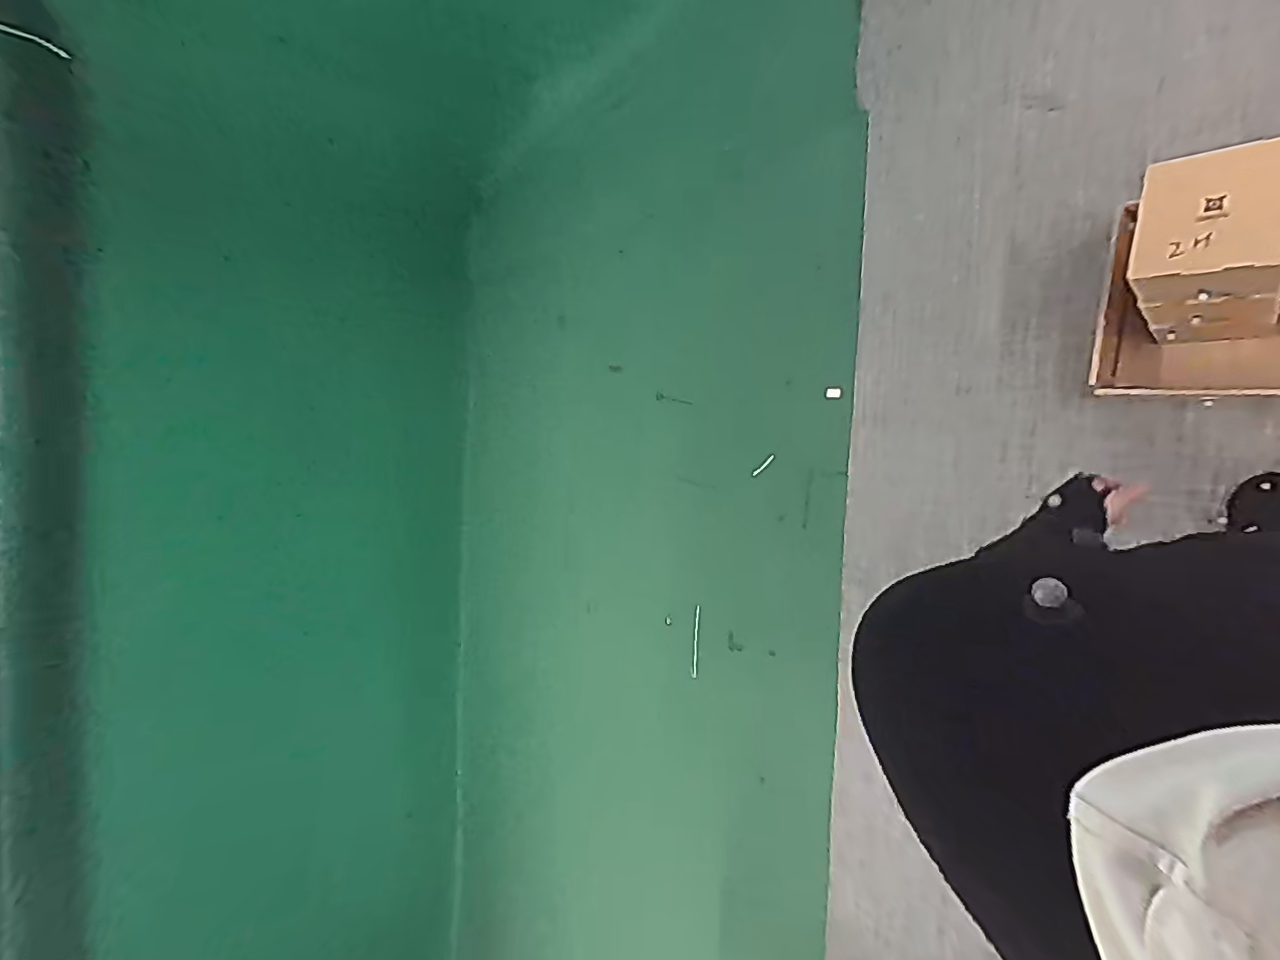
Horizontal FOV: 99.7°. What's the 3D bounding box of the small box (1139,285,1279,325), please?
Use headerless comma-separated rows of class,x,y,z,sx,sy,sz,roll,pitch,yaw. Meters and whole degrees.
small box,1.010,-0.382,0.948,0.168,0.176,0.179,12,98,48

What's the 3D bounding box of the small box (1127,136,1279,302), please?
small box,0.889,-0.390,0.837,0.168,0.176,0.179,13,98,48
